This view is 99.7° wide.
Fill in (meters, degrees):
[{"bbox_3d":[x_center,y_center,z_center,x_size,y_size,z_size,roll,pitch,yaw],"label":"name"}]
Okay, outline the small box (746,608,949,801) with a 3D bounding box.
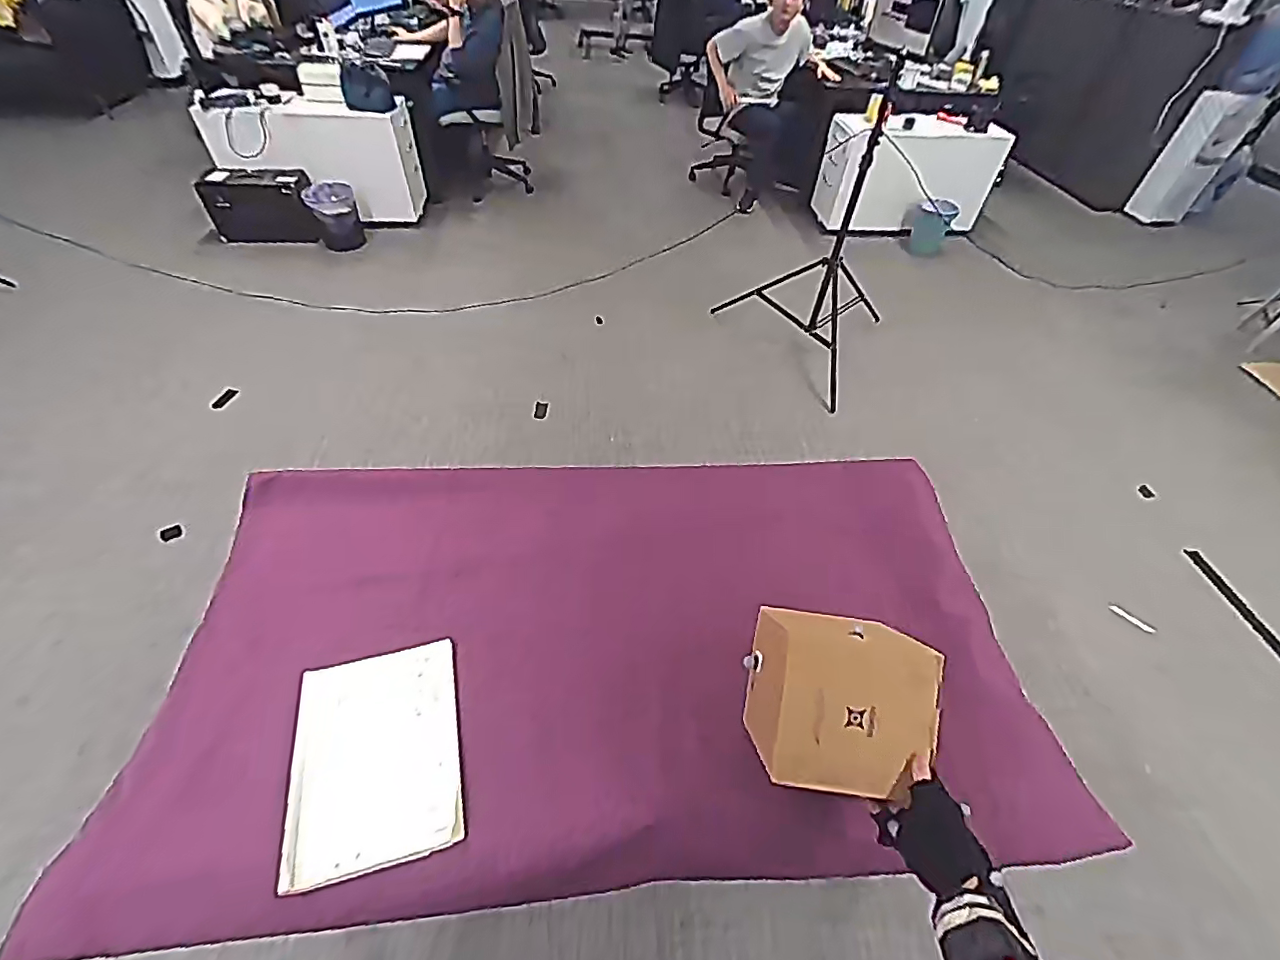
[{"bbox_3d":[0.243,0.261,0.669,0.179,0.176,0.168,8,86,1],"label":"small box"}]
